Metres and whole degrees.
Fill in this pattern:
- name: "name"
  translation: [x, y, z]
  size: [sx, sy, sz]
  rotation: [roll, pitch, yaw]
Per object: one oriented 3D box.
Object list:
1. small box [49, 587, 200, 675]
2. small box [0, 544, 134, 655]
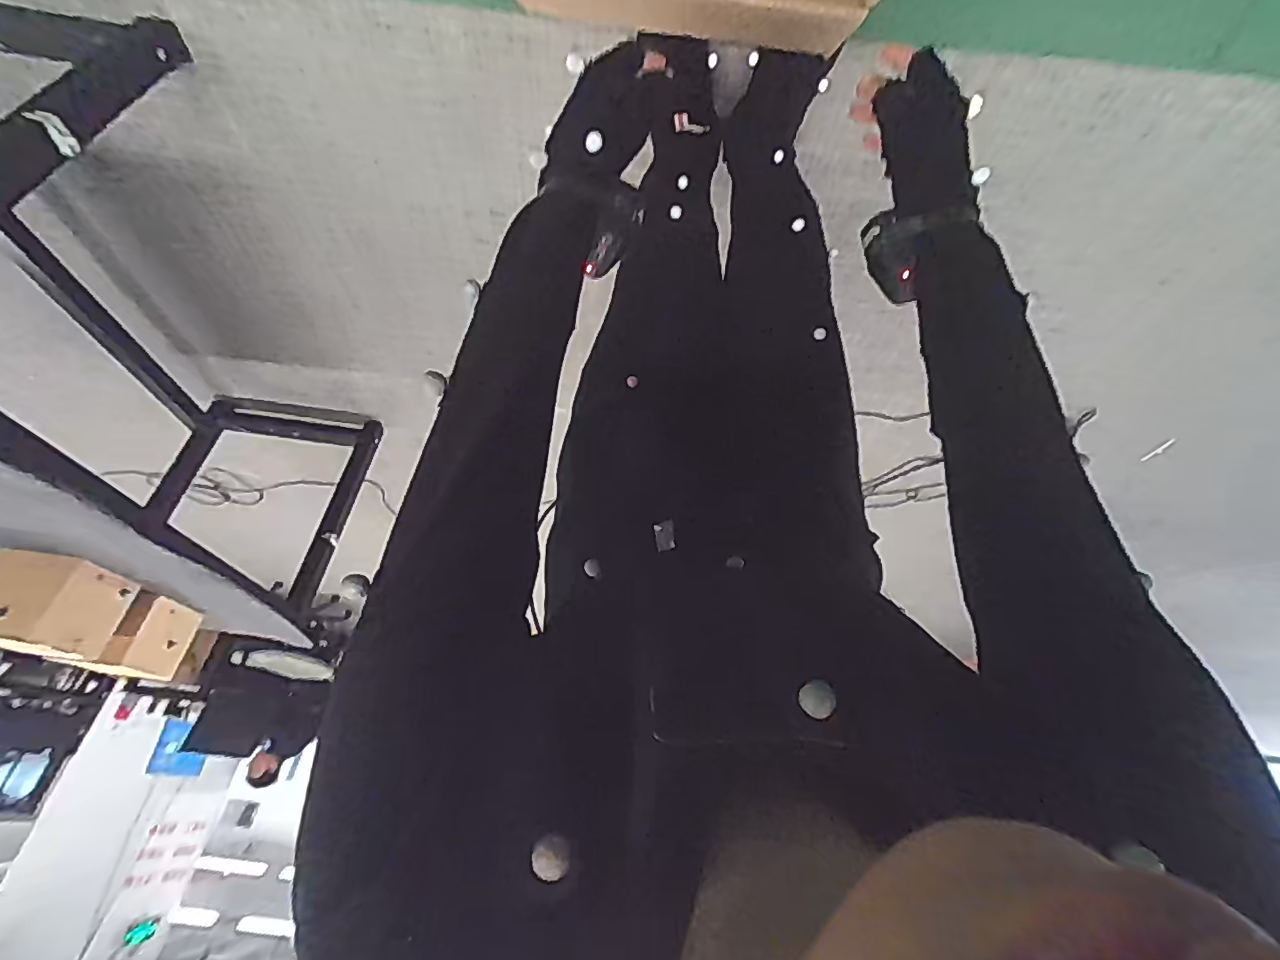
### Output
- name: "small box"
  translation: [-1.201, 0.353, 1.284]
  size: [0.179, 0.176, 0.168]
  rotation: [8, 150, 1]
- name: "small box"
  translation: [-1.188, 0.241, 1.091]
  size: [0.179, 0.176, 0.168]
  rotation: [8, 149, 1]
